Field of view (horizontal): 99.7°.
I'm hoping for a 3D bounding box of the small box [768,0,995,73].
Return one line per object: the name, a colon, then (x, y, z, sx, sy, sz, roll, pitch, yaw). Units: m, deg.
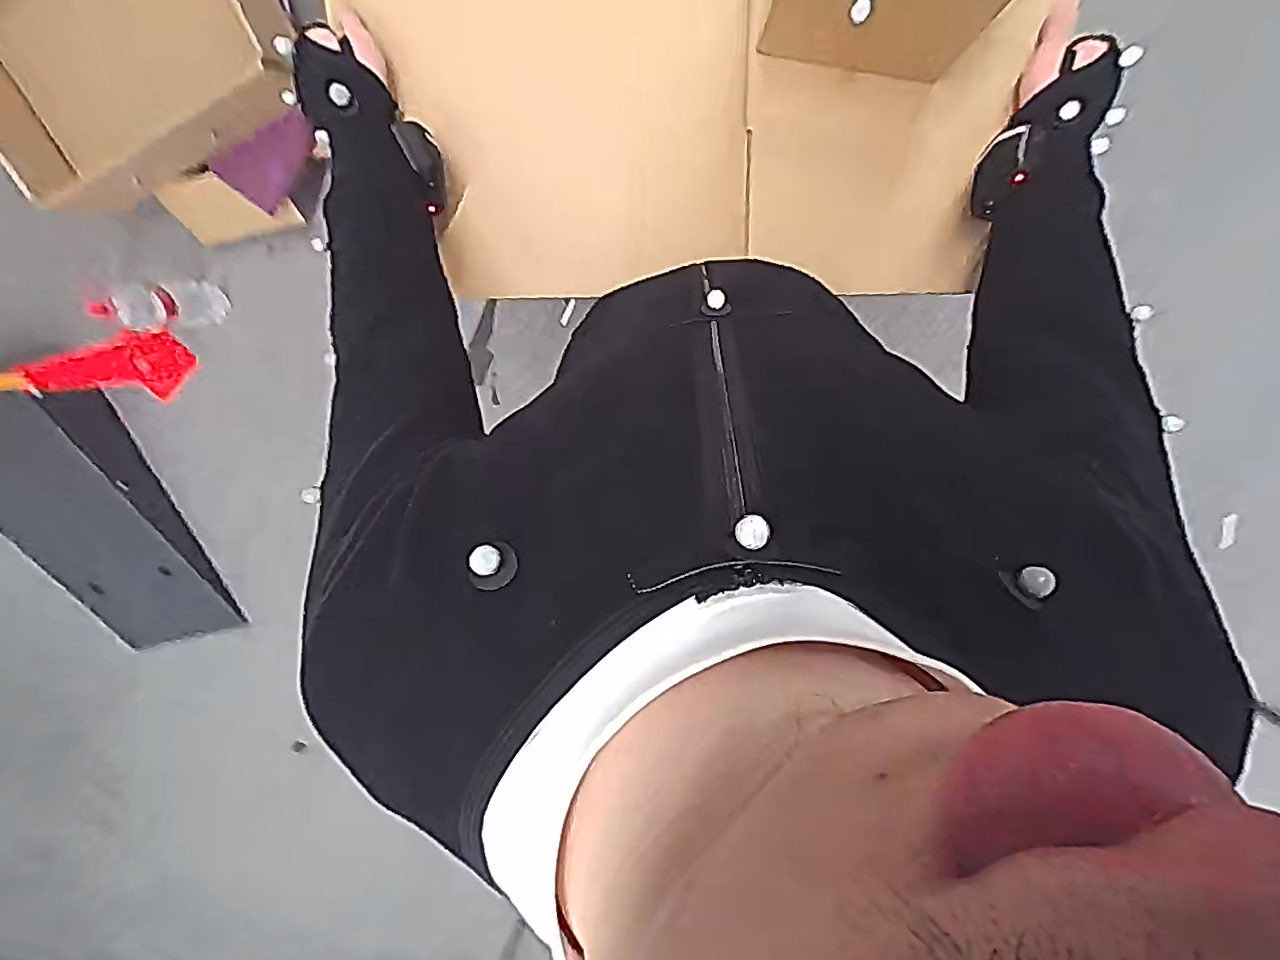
small box: (0.211, -0.462, 0.427, 0.179, 0.176, 0.168, 12, 104, 2)
